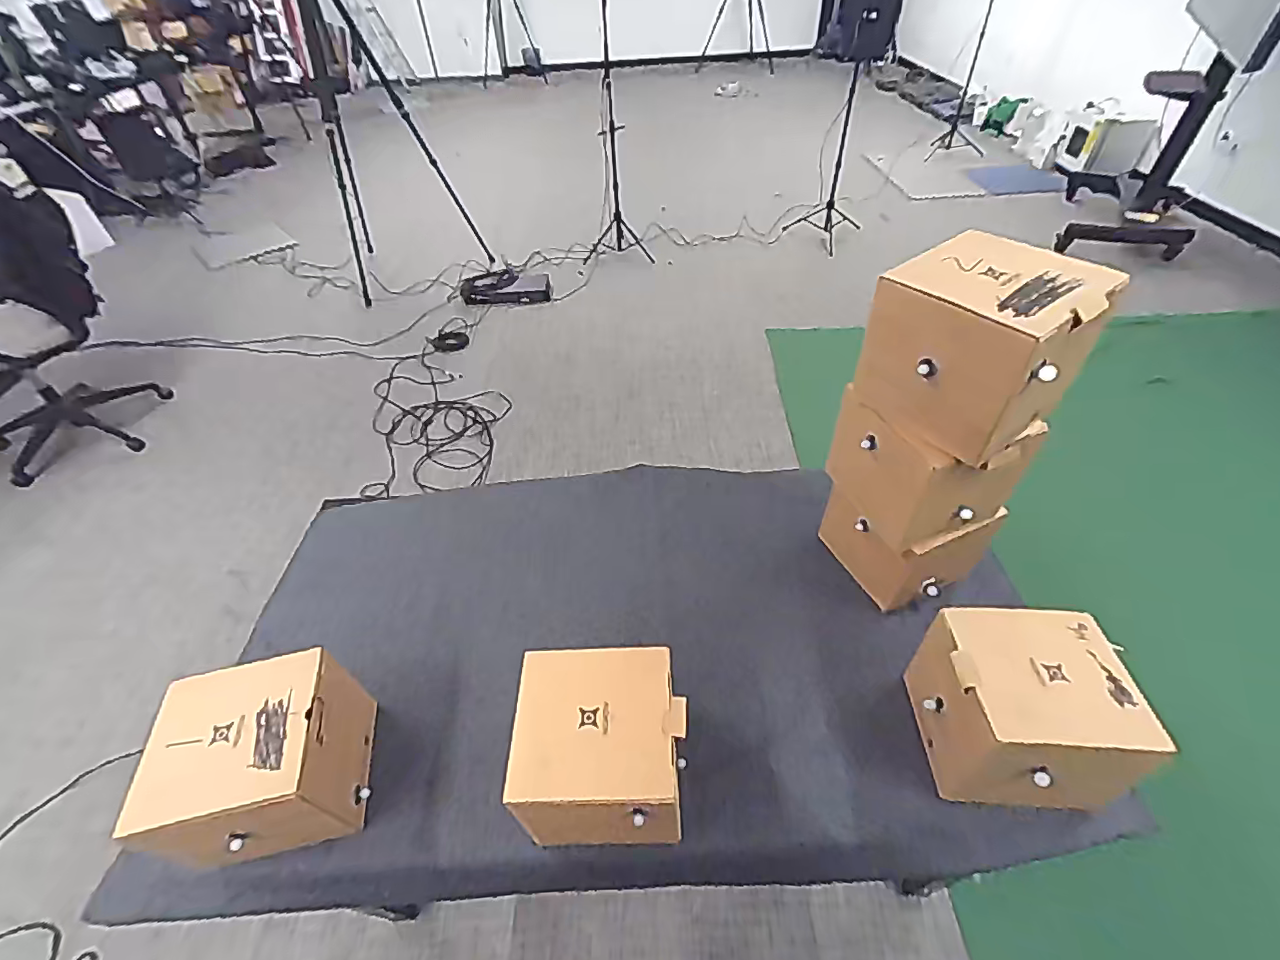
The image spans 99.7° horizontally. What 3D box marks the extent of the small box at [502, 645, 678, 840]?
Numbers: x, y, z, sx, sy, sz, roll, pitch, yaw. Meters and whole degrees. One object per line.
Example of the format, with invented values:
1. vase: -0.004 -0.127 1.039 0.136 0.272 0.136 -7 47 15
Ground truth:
1. small box: -0.046 0.315 0.645 0.179 0.176 0.168 -3 45 2

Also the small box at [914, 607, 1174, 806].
1. small box: 0.451 0.271 0.649 0.179 0.176 0.168 1 42 6

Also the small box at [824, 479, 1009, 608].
1. small box: 0.416 0.068 0.851 0.168 0.176 0.179 -21 50 -12

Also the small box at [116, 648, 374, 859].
1. small box: -0.444 0.329 0.651 0.179 0.176 0.168 -11 47 -7

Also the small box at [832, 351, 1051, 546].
1. small box: 0.384 -0.043 0.731 0.168 0.176 0.179 -18 48 -9
